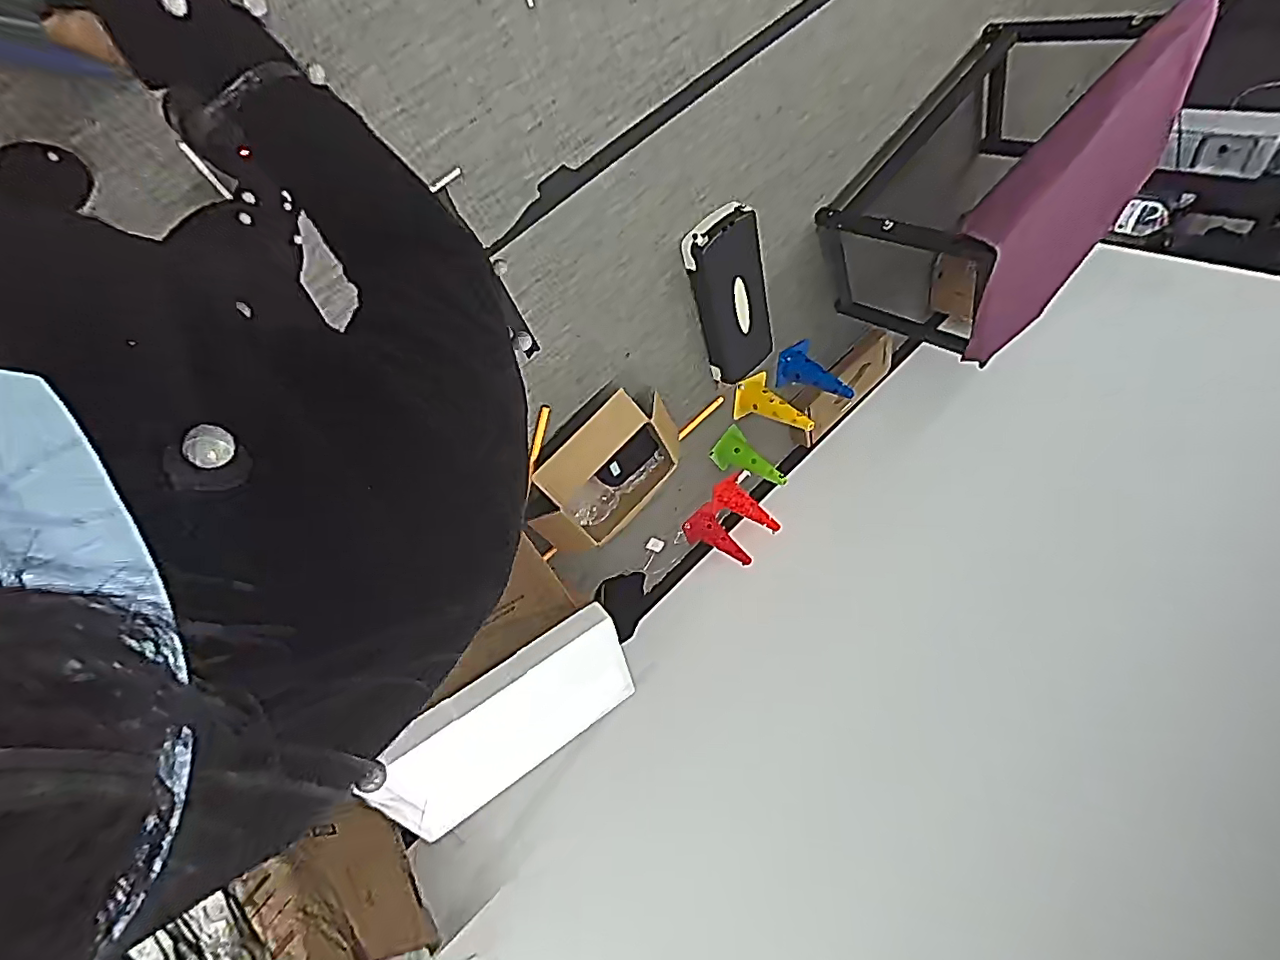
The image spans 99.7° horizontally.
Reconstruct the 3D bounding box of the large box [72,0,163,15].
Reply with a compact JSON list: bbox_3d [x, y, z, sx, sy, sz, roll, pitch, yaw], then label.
[{"bbox_3d":[-0.761,-0.696,0.513,0.408,0.320,0.320,-17,131,-37],"label":"large box"}]
